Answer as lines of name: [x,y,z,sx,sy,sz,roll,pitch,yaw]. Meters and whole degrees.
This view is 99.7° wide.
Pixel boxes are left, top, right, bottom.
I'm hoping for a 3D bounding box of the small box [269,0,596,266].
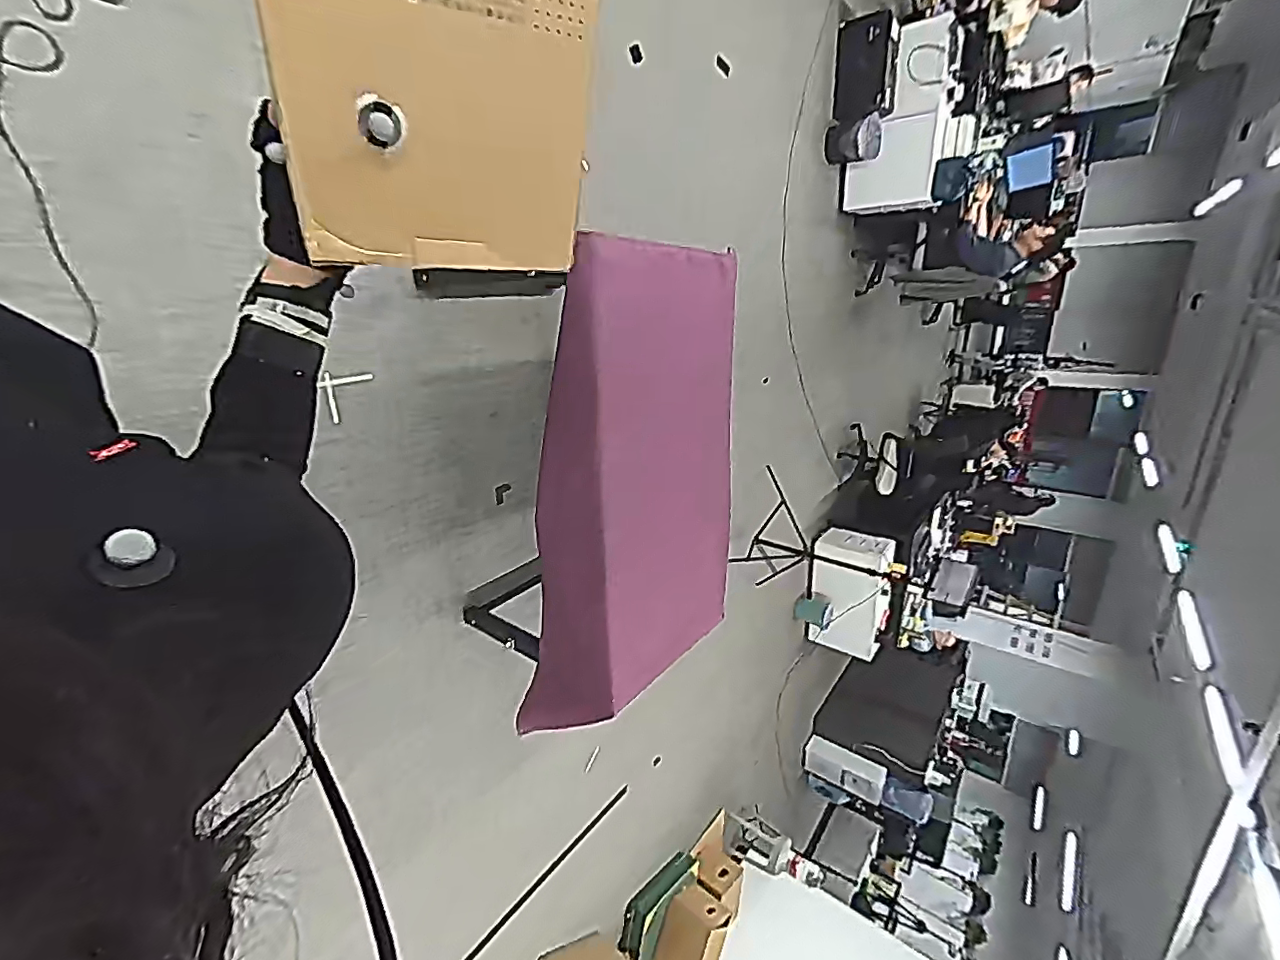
small box: [-0.137,-0.257,0.352,0.168,0.179,0.176,-8,133,-27]
